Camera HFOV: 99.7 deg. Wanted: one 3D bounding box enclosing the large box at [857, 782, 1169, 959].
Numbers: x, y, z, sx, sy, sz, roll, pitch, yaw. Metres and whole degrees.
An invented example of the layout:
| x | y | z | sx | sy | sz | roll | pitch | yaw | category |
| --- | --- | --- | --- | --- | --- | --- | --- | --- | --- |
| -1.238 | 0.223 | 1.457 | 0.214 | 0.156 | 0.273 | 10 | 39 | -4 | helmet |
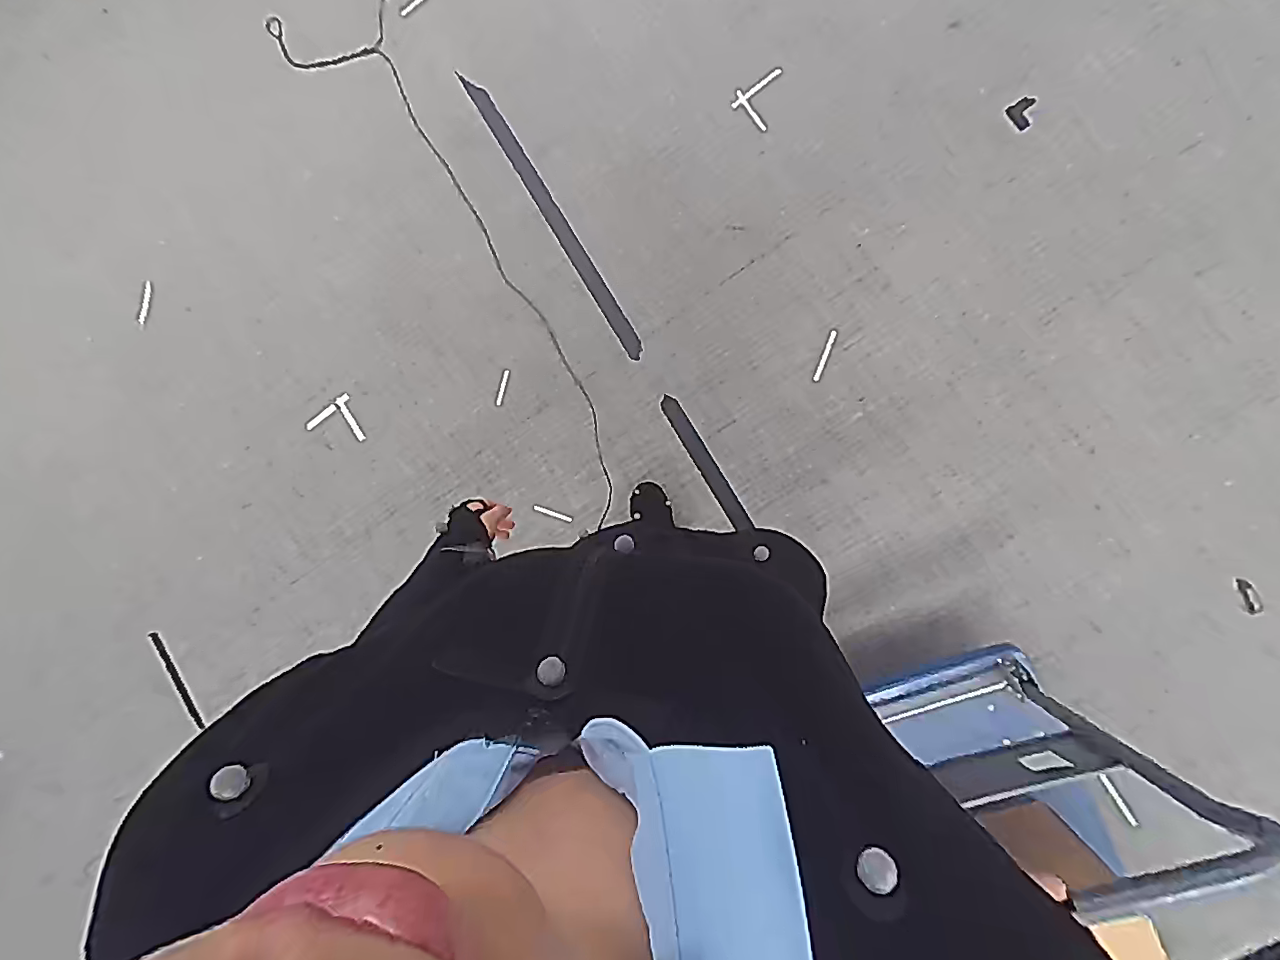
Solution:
| x | y | z | sx | sy | sz | roll | pitch | yaw | category |
| --- | --- | --- | --- | --- | --- | --- | --- | --- | --- |
| 0.704 | 0.864 | 1.052 | 0.408 | 0.320 | 0.320 | -22 | 86 | 8 | large box |
